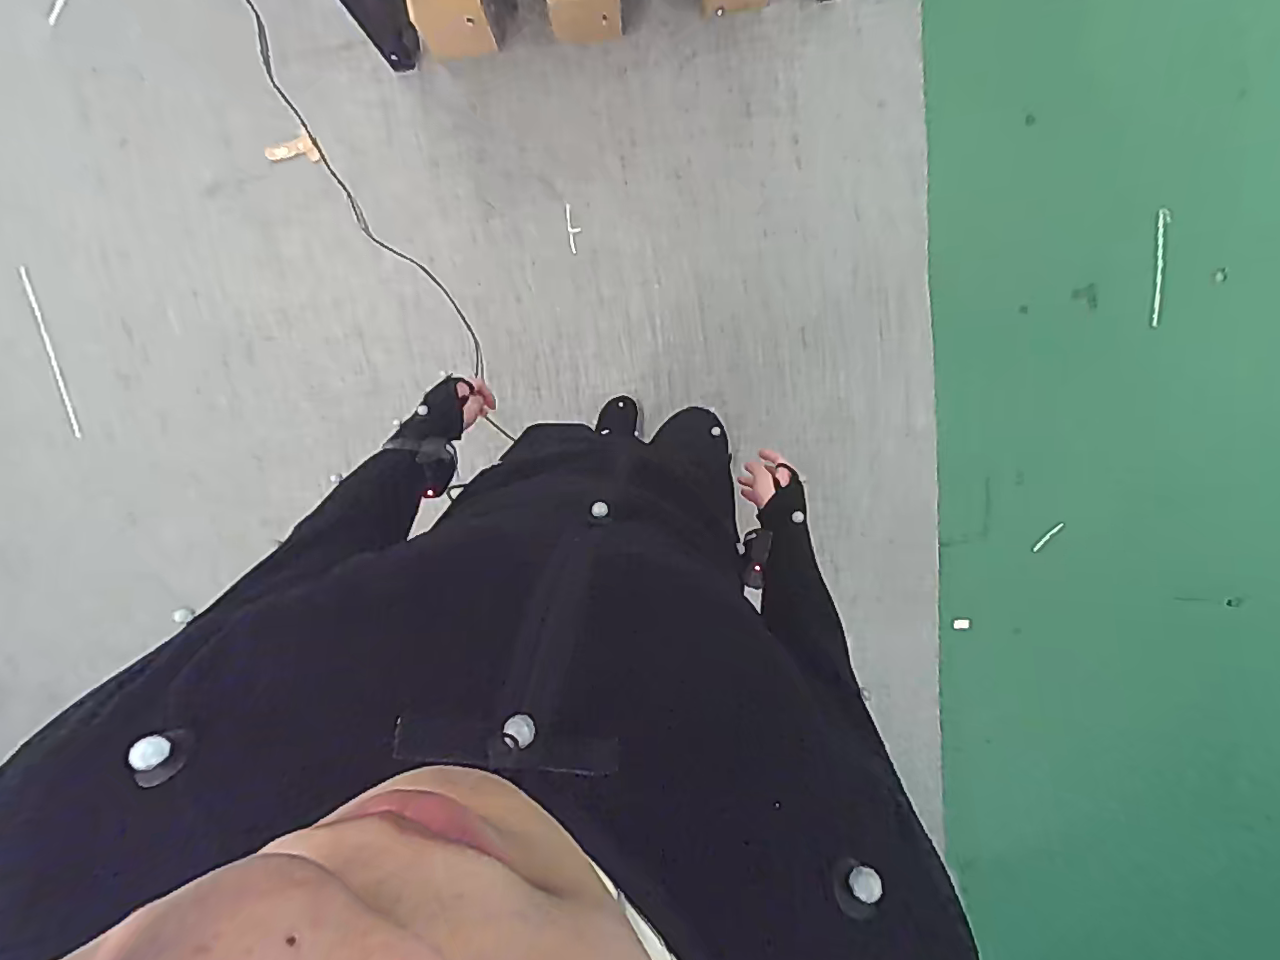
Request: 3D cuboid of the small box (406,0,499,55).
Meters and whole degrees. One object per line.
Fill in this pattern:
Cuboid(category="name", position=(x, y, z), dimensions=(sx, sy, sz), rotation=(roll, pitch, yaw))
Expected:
Cuboid(category="small box", position=(-0.464, -1.183, 1.322), dimensions=(0.179, 0.176, 0.168), rotation=(-8, 100, 1))

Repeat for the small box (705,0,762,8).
Cuboid(category="small box", position=(0.236, -1.290, 1.303), dimensions=(0.168, 0.176, 0.179), rotation=(-11, 99, 1))

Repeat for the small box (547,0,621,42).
Cuboid(category="small box", position=(-0.140, -1.215, 1.317), dimensions=(0.179, 0.176, 0.168), rotation=(-7, 100, 2))
